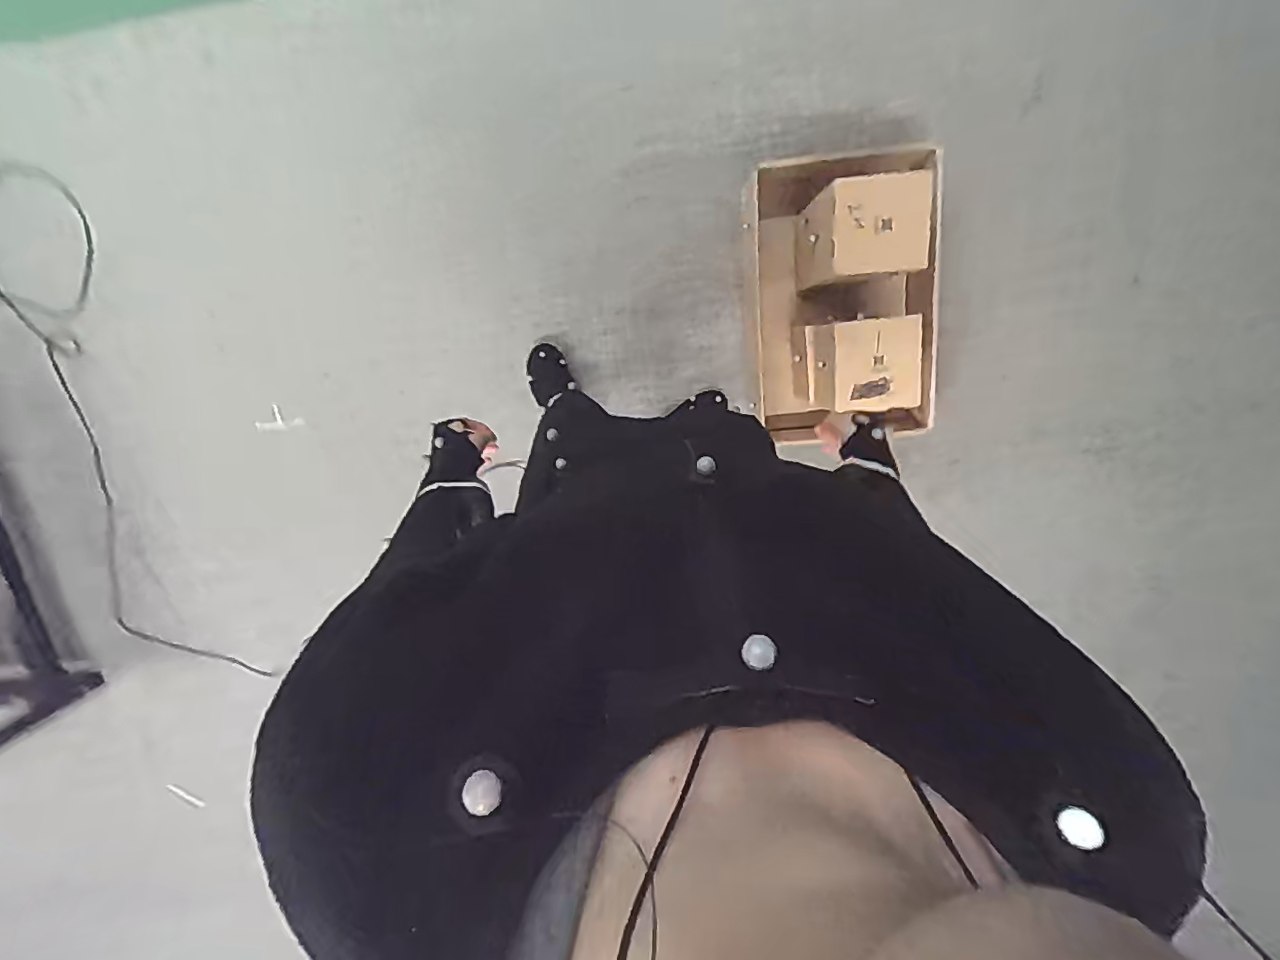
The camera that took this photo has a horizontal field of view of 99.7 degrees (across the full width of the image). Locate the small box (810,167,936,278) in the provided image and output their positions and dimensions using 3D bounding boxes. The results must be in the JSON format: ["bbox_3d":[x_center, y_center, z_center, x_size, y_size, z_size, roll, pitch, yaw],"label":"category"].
[{"bbox_3d":[0.446,-0.494,1.058,0.179,0.176,0.168,-2,103,4],"label":"small box"}]

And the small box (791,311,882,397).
[{"bbox_3d":[0.458,-0.293,1.278,0.168,0.176,0.179,-5,101,6],"label":"small box"}]
